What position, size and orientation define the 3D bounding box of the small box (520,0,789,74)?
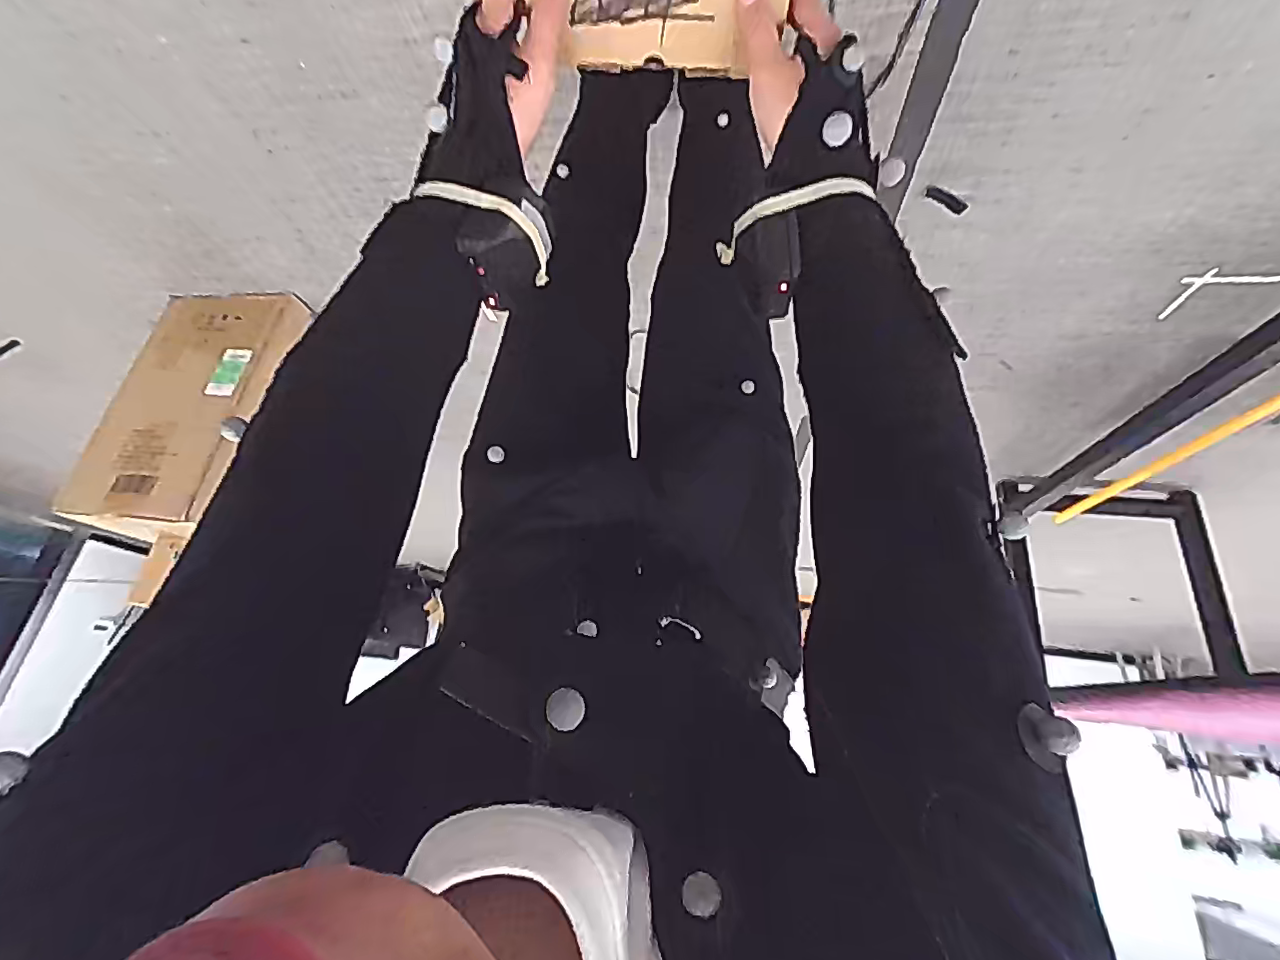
[{"bbox_3d":[0.014,-0.384,0.327,0.168,0.176,0.179,3,144,0],"label":"small box"}]
